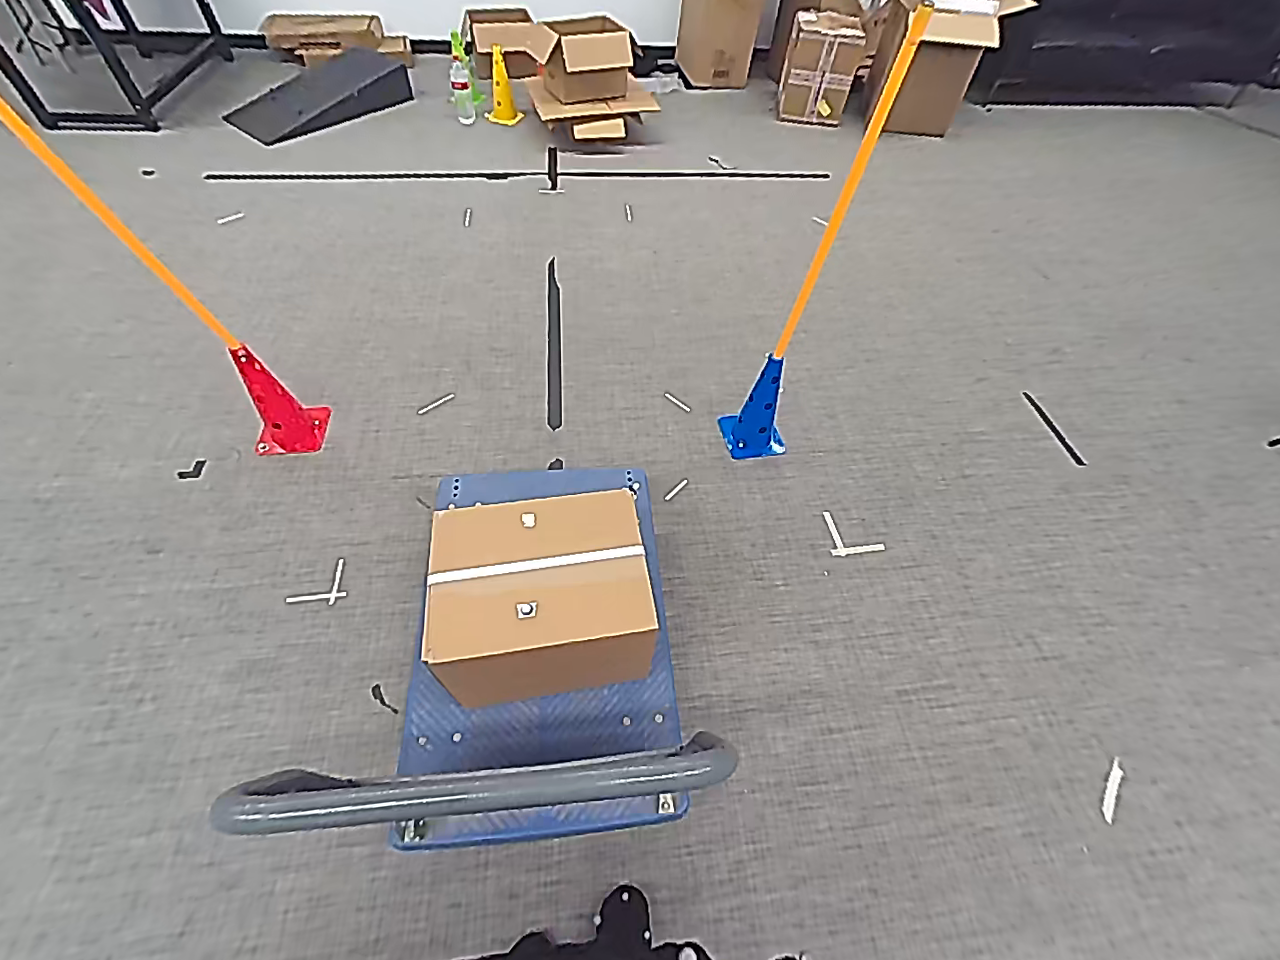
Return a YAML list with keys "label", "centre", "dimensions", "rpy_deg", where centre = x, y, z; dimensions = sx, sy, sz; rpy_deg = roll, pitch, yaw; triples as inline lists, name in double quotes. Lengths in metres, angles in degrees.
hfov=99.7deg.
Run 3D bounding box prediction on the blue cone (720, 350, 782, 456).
- label: "blue cone"
  centre: [0.401, -0.261, 1.773]
  dimensions: [0.193, 0.380, 0.192]
  rpy_deg: [-6, 53, -9]
